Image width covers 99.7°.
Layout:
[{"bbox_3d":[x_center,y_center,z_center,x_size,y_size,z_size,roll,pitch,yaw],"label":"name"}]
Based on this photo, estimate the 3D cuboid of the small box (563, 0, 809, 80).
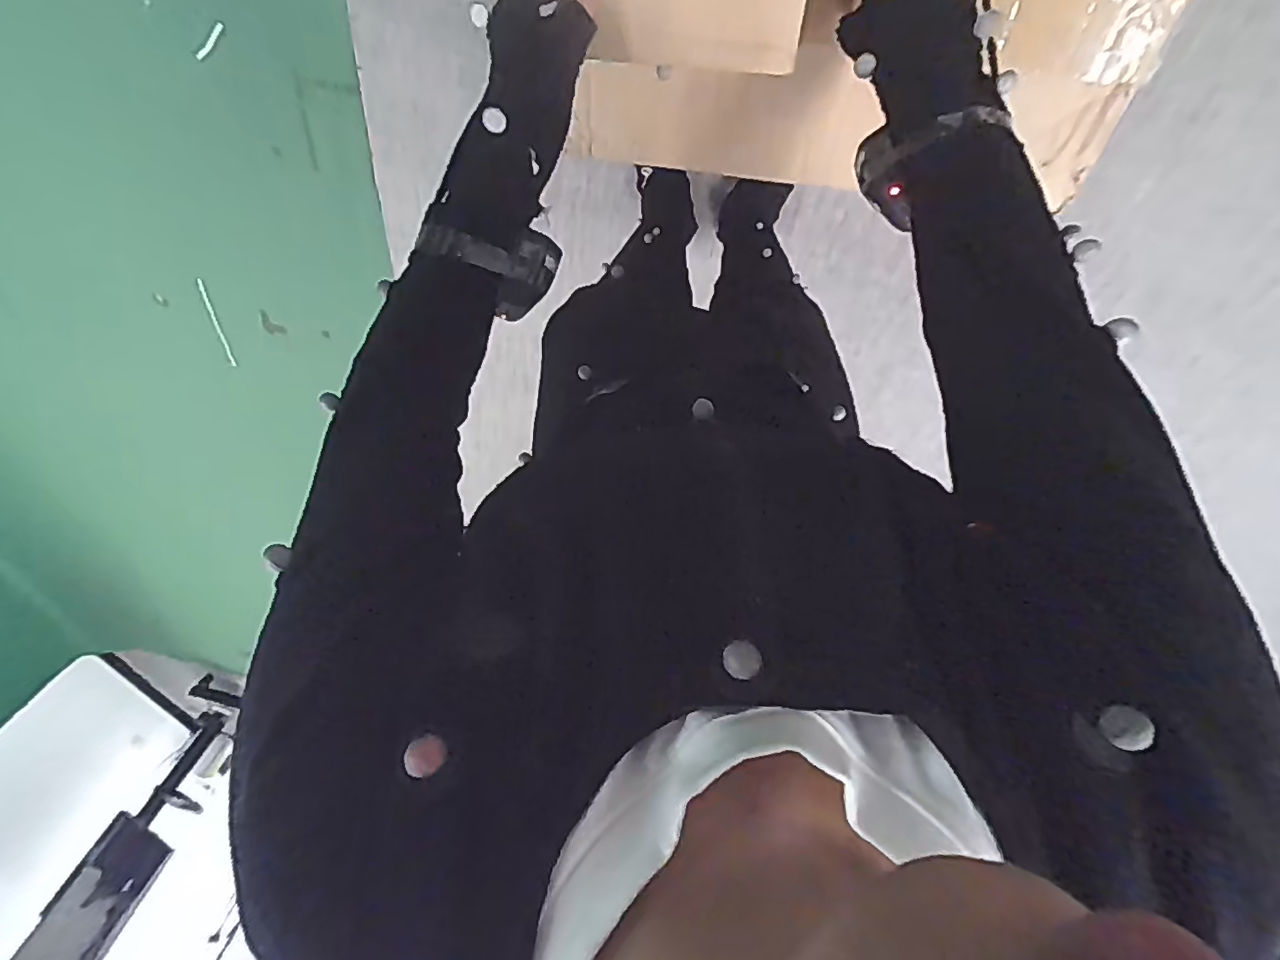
[{"bbox_3d":[0.047,-0.420,0.407,0.179,0.176,0.168,9,134,5],"label":"small box"}]
